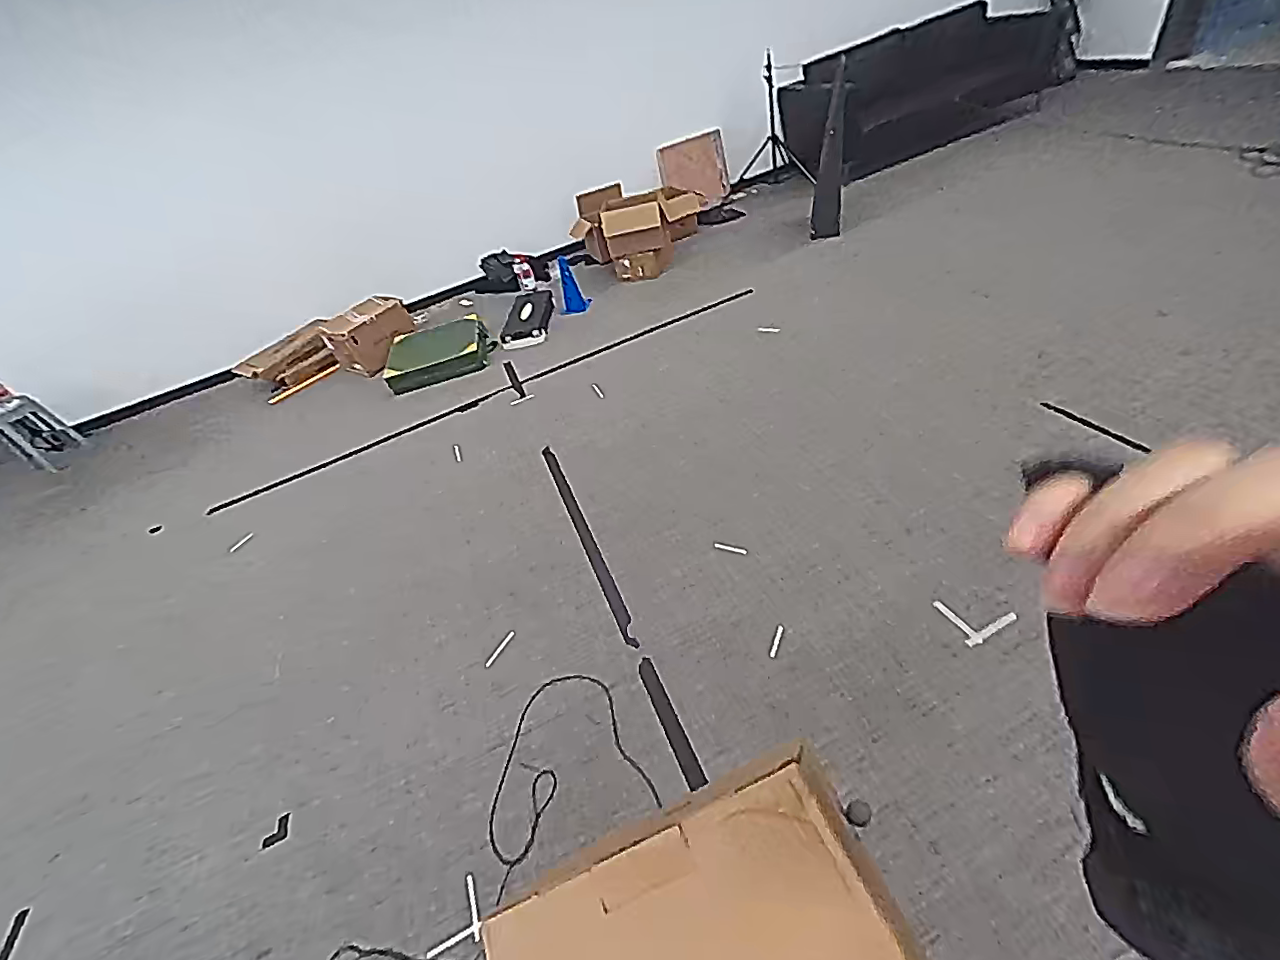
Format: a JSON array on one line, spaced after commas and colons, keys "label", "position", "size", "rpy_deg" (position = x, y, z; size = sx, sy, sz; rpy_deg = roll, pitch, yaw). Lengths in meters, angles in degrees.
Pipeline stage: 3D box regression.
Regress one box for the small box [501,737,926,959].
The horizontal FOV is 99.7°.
[{"label": "small box", "position": [0.060, 0.265, 0.291], "size": [0.168, 0.179, 0.176], "rpy_deg": [-30, 62, 5]}]
